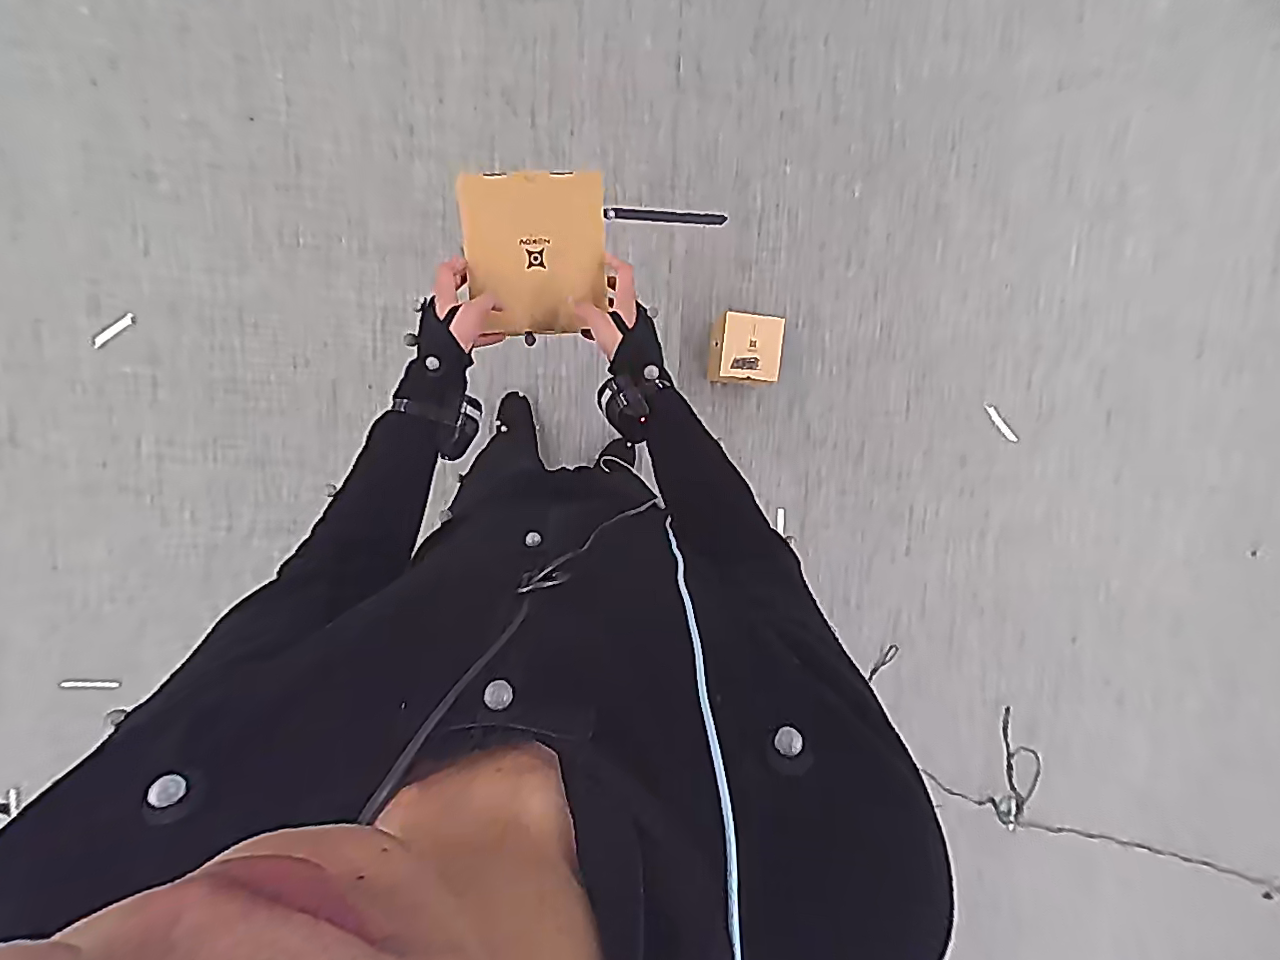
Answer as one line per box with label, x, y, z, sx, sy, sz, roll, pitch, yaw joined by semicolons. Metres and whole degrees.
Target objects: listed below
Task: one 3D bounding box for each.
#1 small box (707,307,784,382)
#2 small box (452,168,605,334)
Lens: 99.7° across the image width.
small box;0.292;-0.378;1.539;0.168;0.176;0.179;6;95;-6
small box;-0.131;-0.282;0.701;0.168;0.176;0.179;-4;103;-4
